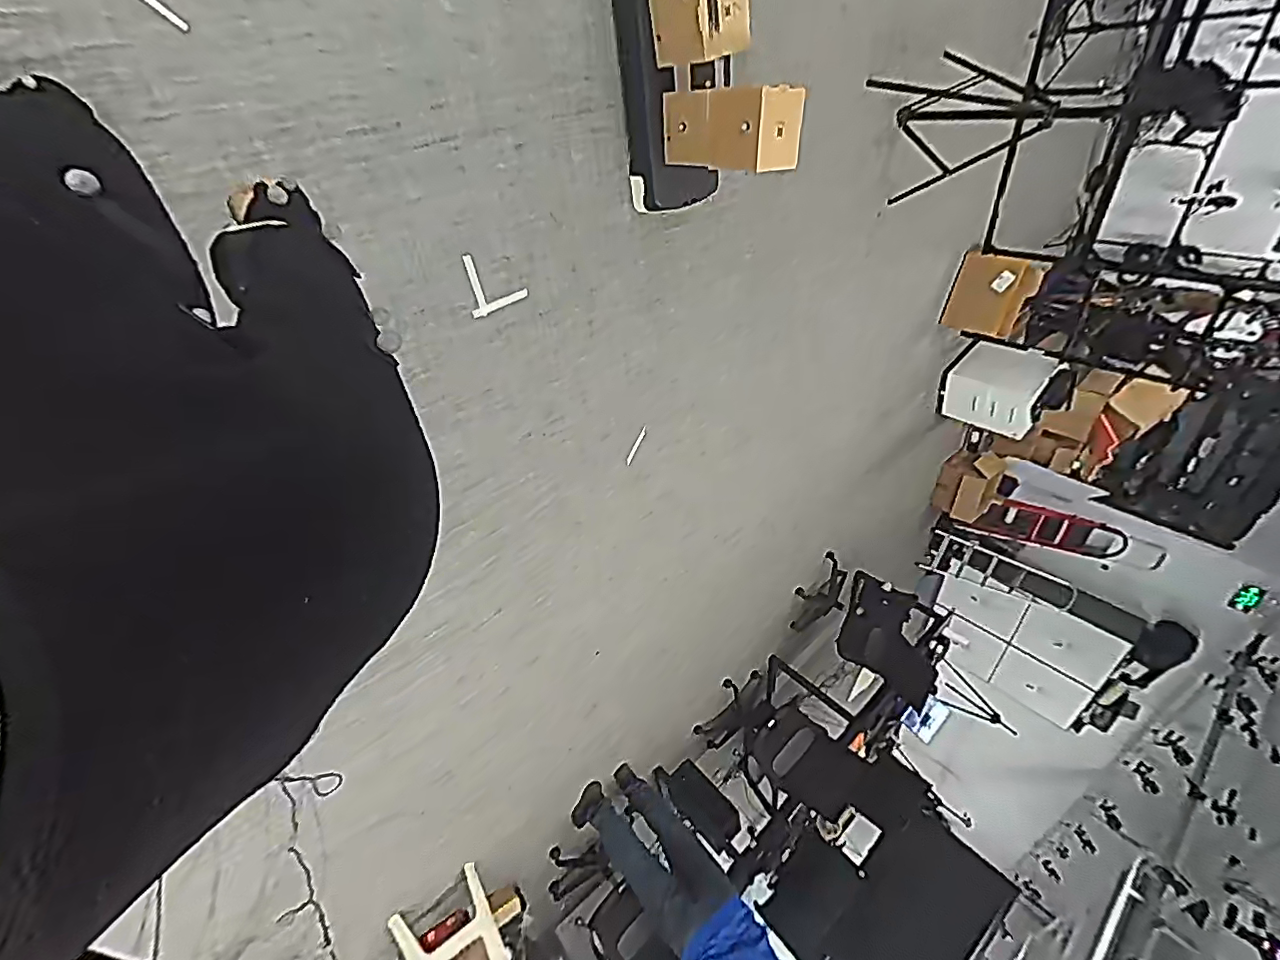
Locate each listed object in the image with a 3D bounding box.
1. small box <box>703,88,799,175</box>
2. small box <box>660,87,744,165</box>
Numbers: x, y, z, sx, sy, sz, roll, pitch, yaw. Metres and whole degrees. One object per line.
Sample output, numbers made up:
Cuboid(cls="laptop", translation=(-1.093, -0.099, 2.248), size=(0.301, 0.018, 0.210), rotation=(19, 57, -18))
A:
Cuboid(cls="small box", translation=(0.275, -0.886, 1.376), size=(0.168, 0.176, 0.179), rotation=(-26, 130, -32))
Cuboid(cls="small box", translation=(0.167, -0.962, 1.471), size=(0.179, 0.176, 0.168), rotation=(-29, 133, -31))
